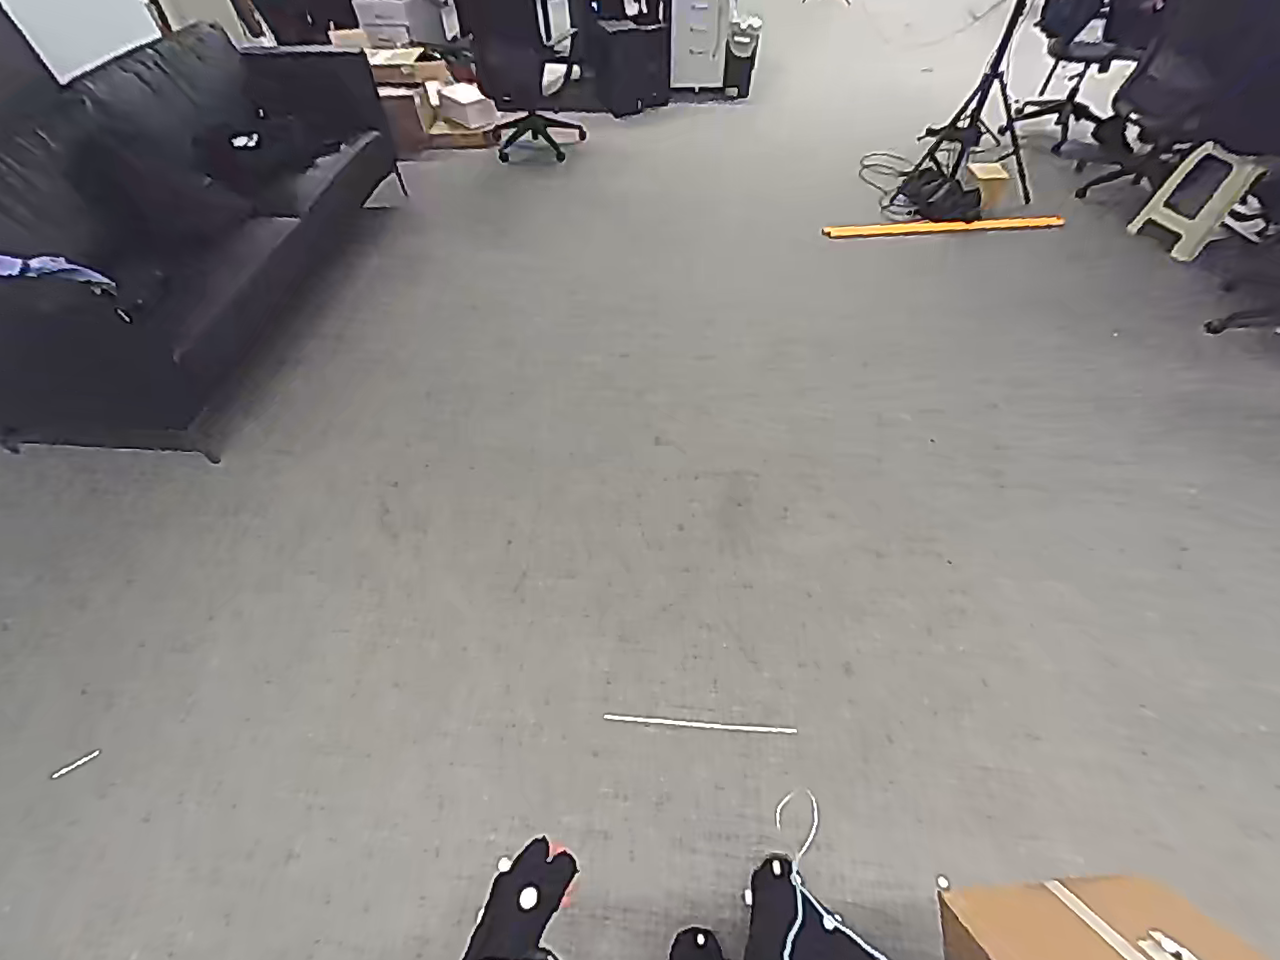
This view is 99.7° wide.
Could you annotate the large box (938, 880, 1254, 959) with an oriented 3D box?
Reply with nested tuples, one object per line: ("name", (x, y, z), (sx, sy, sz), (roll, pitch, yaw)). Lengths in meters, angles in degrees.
("large box", (0.590, 0.725, 0.570), (0.320, 0.408, 0.320), (-2, 87, -1))
